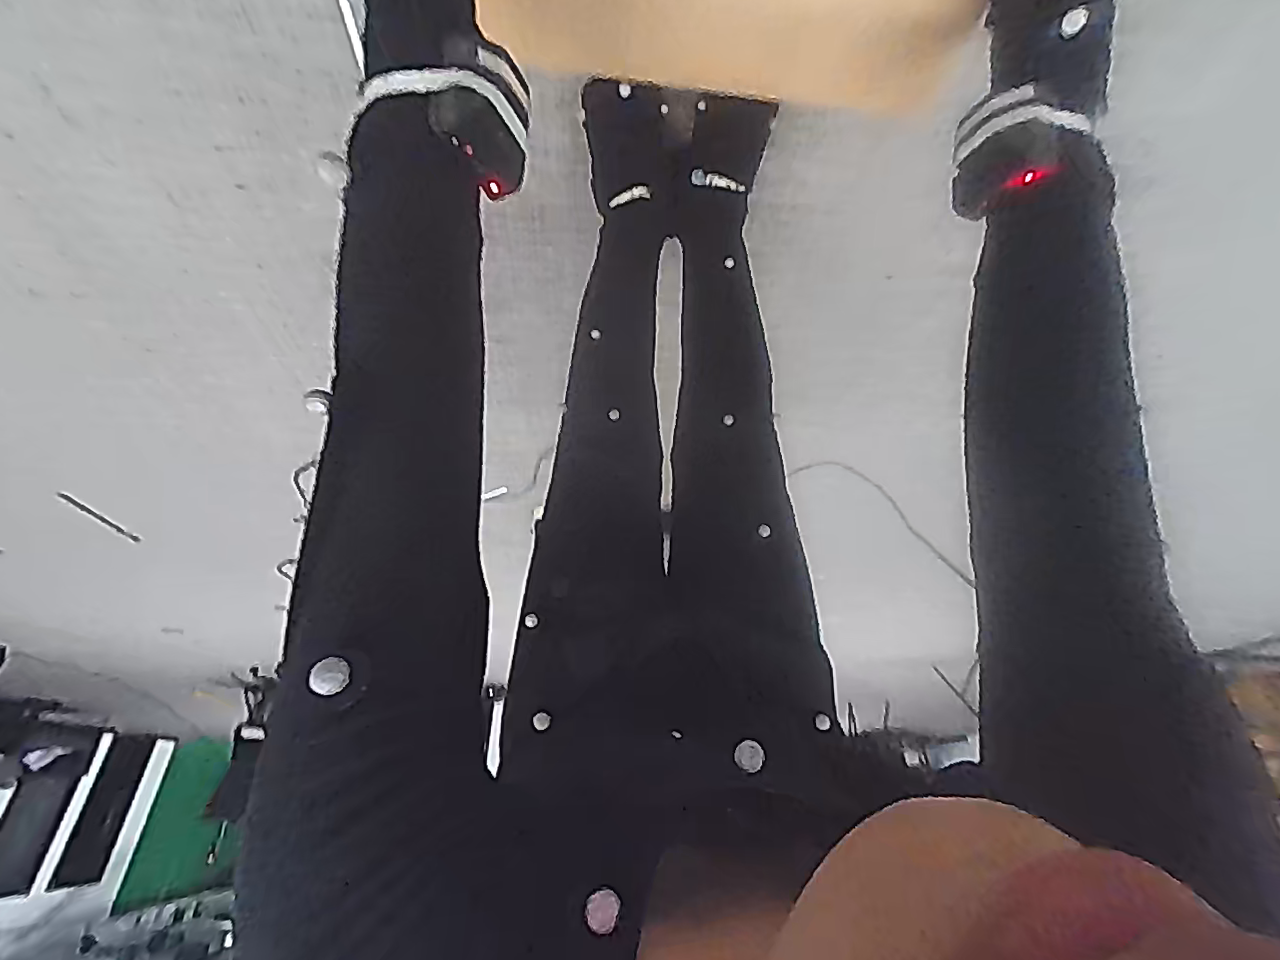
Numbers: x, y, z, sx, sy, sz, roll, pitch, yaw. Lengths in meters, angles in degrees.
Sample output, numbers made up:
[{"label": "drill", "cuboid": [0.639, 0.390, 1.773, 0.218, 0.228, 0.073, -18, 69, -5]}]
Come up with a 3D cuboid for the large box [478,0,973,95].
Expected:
[{"label": "large box", "cuboid": [0.077, -0.562, 0.419, 0.408, 0.320, 0.320, 4, 150, -5]}]
